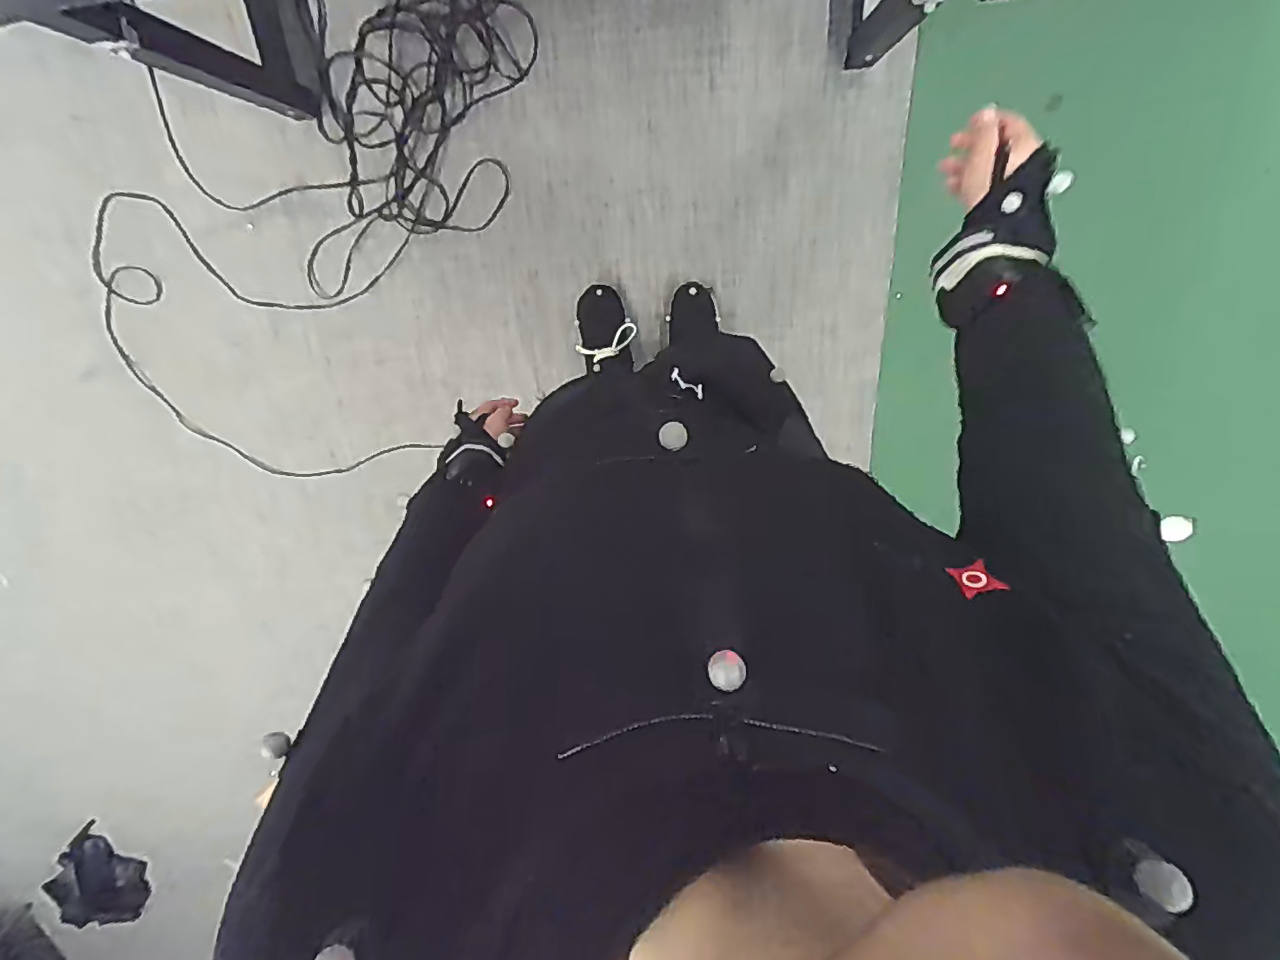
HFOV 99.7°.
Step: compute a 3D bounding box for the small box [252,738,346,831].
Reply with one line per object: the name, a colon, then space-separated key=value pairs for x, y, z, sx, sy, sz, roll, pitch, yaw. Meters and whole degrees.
small box: x=-1.107 y=0.993 z=1.771 sx=0.168 sy=0.176 sz=0.179 roll=41 pitch=107 yaw=-15
